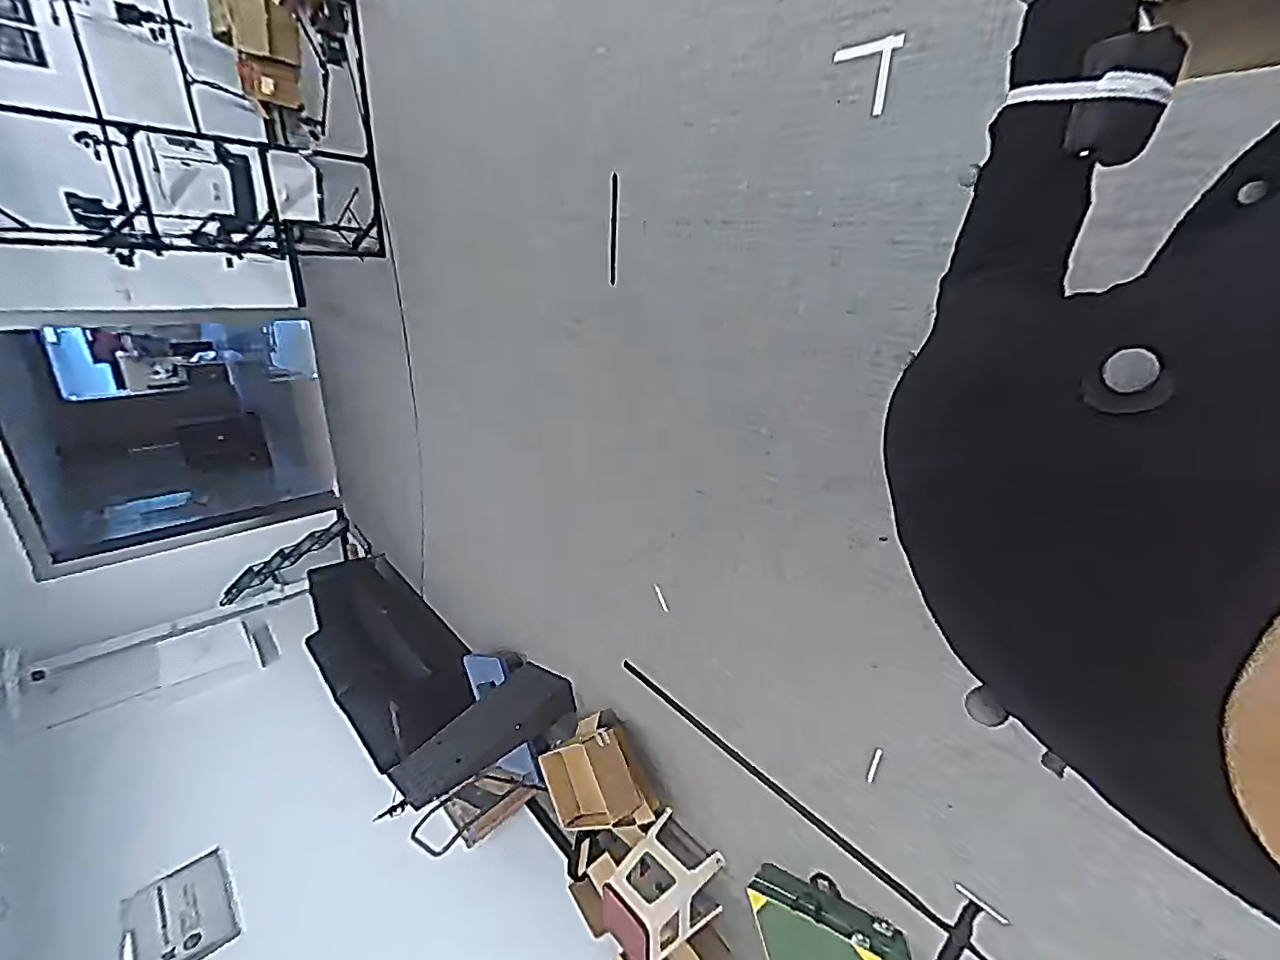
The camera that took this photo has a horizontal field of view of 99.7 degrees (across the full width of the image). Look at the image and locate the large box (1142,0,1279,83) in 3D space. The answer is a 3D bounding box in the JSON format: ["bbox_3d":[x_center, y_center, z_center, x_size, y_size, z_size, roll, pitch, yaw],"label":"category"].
[{"bbox_3d":[0.547,-0.433,0.248,0.408,0.320,0.320,19,123,40],"label":"large box"}]
